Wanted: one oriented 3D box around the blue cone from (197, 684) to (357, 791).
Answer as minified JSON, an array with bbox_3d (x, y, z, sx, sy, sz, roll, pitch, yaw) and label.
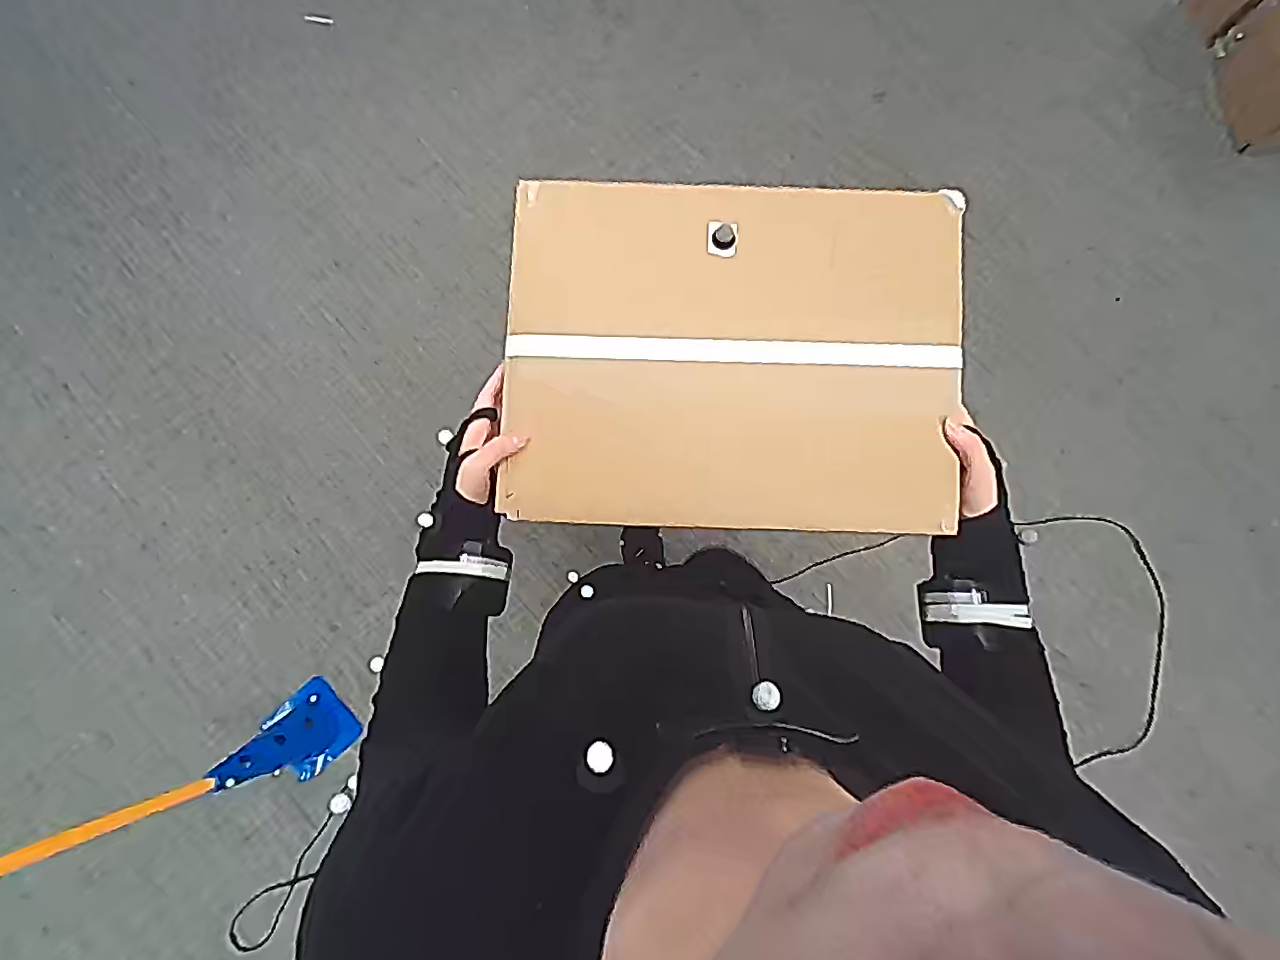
[{"bbox_3d":[-0.852,0.624,1.232,0.192,0.380,0.193,-45,84,-7],"label":"blue cone"}]
